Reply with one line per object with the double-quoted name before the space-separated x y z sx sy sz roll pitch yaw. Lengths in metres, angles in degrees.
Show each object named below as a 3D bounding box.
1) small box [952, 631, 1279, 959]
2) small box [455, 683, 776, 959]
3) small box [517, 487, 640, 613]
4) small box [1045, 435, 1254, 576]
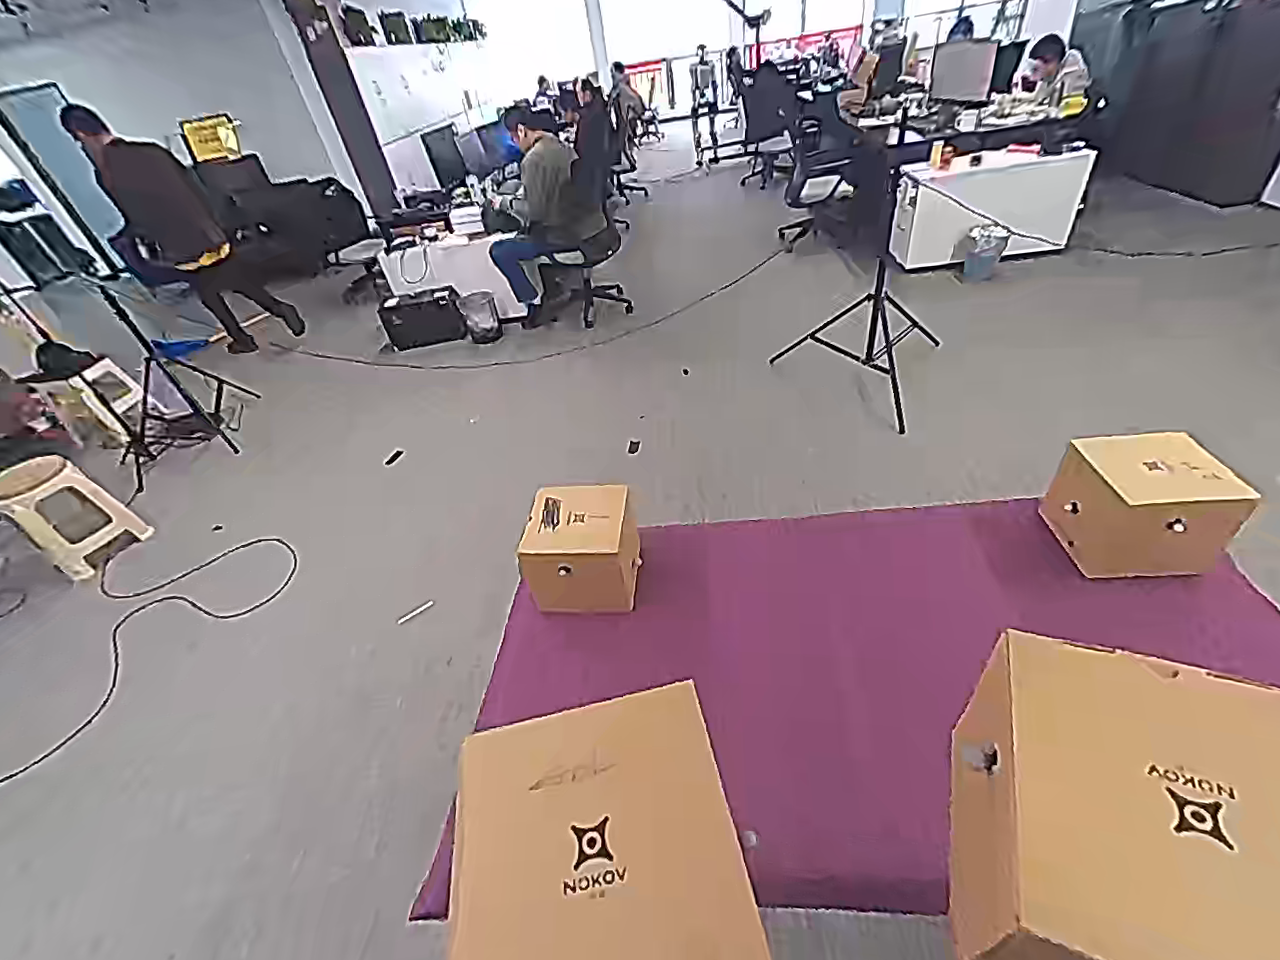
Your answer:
"small box" 0.304 0.230 0.335 0.168 0.176 0.179 9 45 24
"small box" -0.012 0.274 0.363 0.168 0.176 0.179 -13 39 -4
"small box" -0.102 0.131 0.998 0.179 0.176 0.168 -2 41 9
"small box" 0.811 0.045 0.893 0.179 0.176 0.168 -3 40 8
